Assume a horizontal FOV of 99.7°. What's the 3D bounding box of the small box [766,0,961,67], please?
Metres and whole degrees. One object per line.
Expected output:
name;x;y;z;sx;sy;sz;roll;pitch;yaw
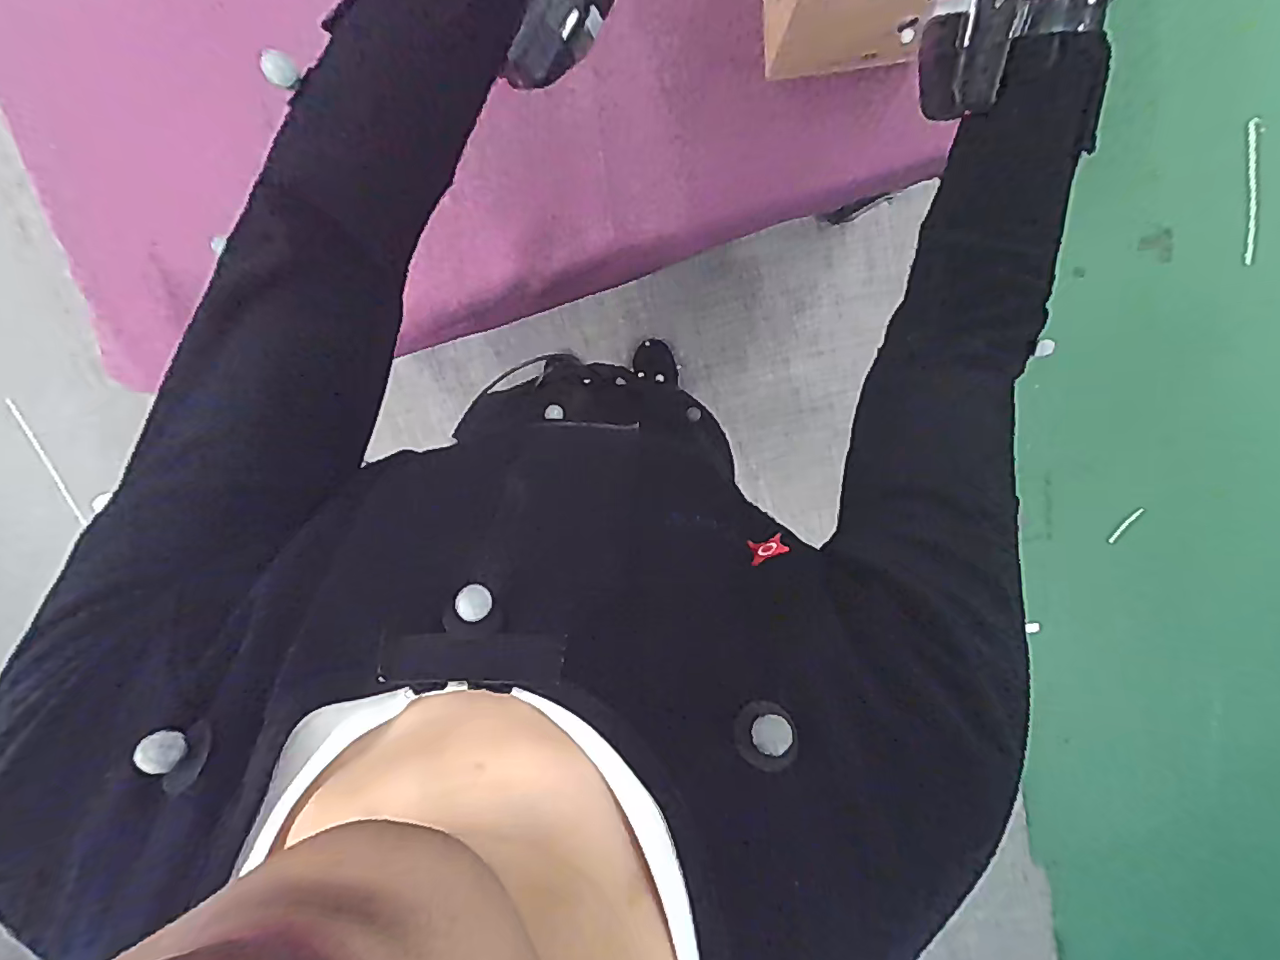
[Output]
small box;0.213;-0.514;0.495;0.168;0.176;0.179;-4;105;3
